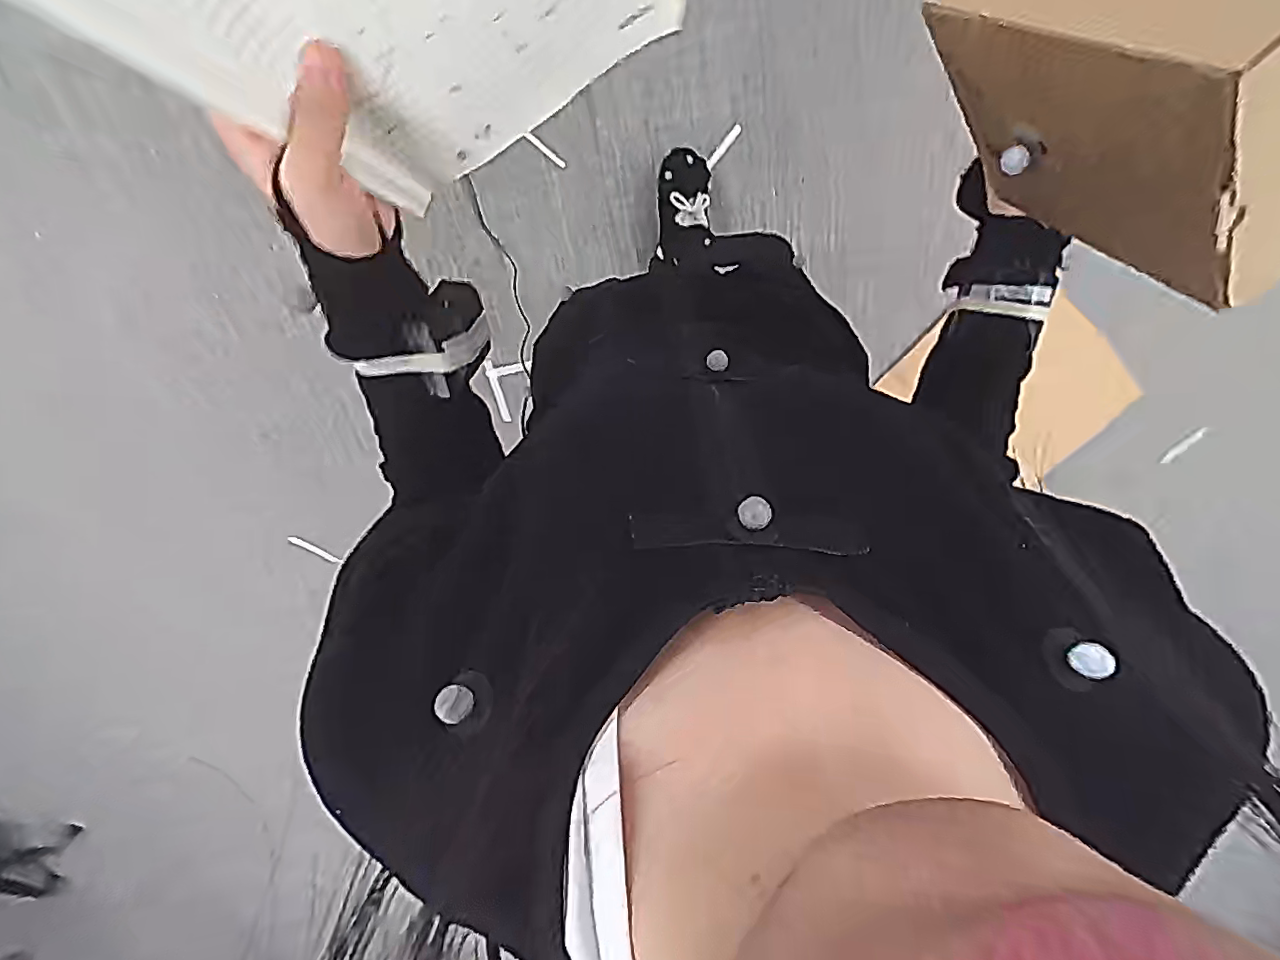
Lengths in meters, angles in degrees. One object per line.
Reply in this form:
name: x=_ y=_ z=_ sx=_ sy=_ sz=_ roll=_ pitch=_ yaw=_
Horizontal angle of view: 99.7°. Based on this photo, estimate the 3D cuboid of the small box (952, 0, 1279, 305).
small box: x=0.292 y=-0.226 z=0.246 sx=0.168 sy=0.176 sz=0.179 roll=23 pitch=122 yaw=-41
